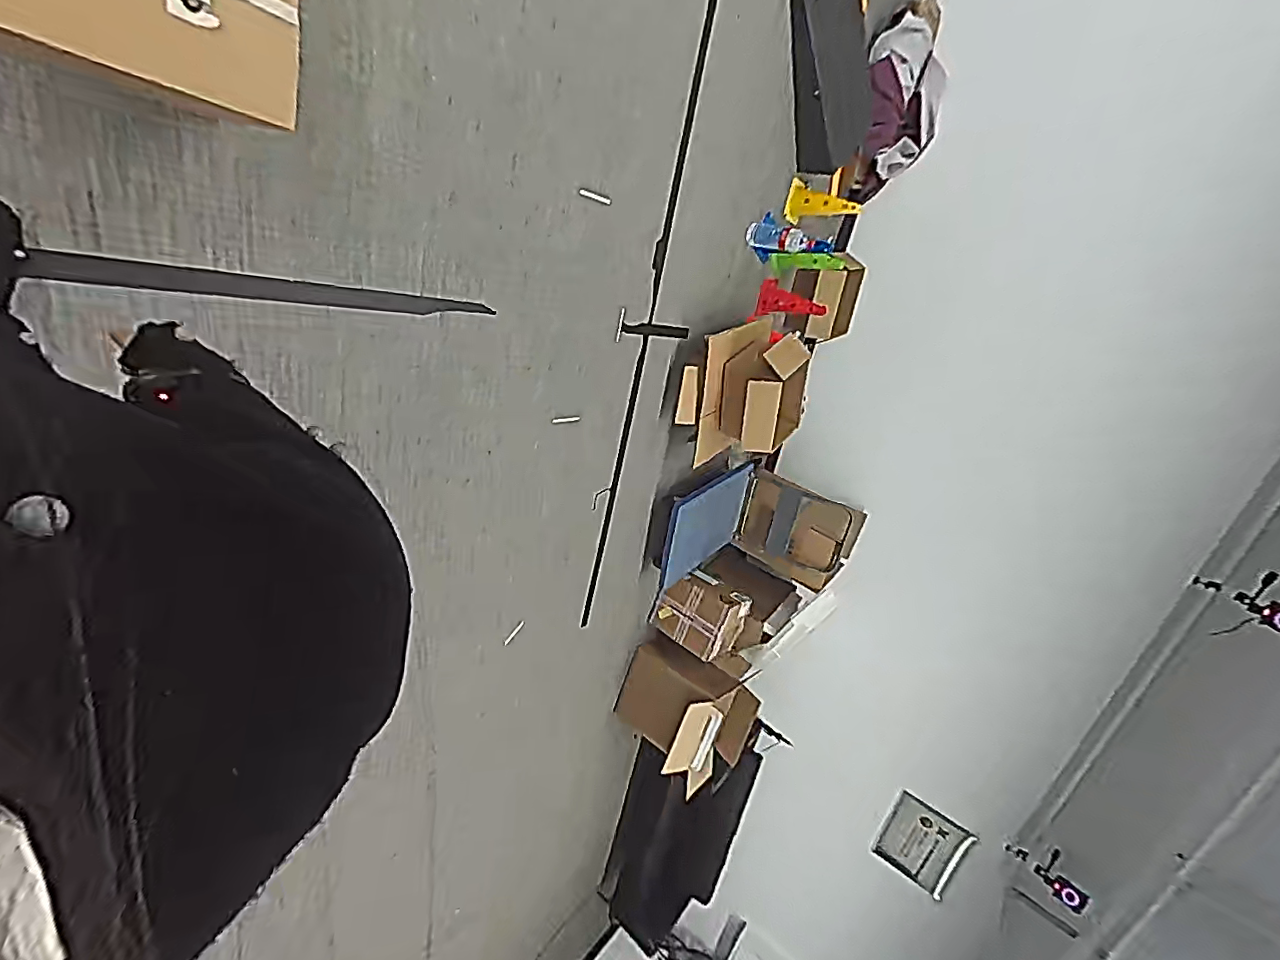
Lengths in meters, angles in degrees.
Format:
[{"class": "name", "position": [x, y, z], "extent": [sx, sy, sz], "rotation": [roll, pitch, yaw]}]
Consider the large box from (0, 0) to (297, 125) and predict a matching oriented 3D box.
[{"class": "large box", "position": [-0.770, -0.750, 0.760], "extent": [0.408, 0.320, 0.320], "rotation": [-13, 123, -54]}]
